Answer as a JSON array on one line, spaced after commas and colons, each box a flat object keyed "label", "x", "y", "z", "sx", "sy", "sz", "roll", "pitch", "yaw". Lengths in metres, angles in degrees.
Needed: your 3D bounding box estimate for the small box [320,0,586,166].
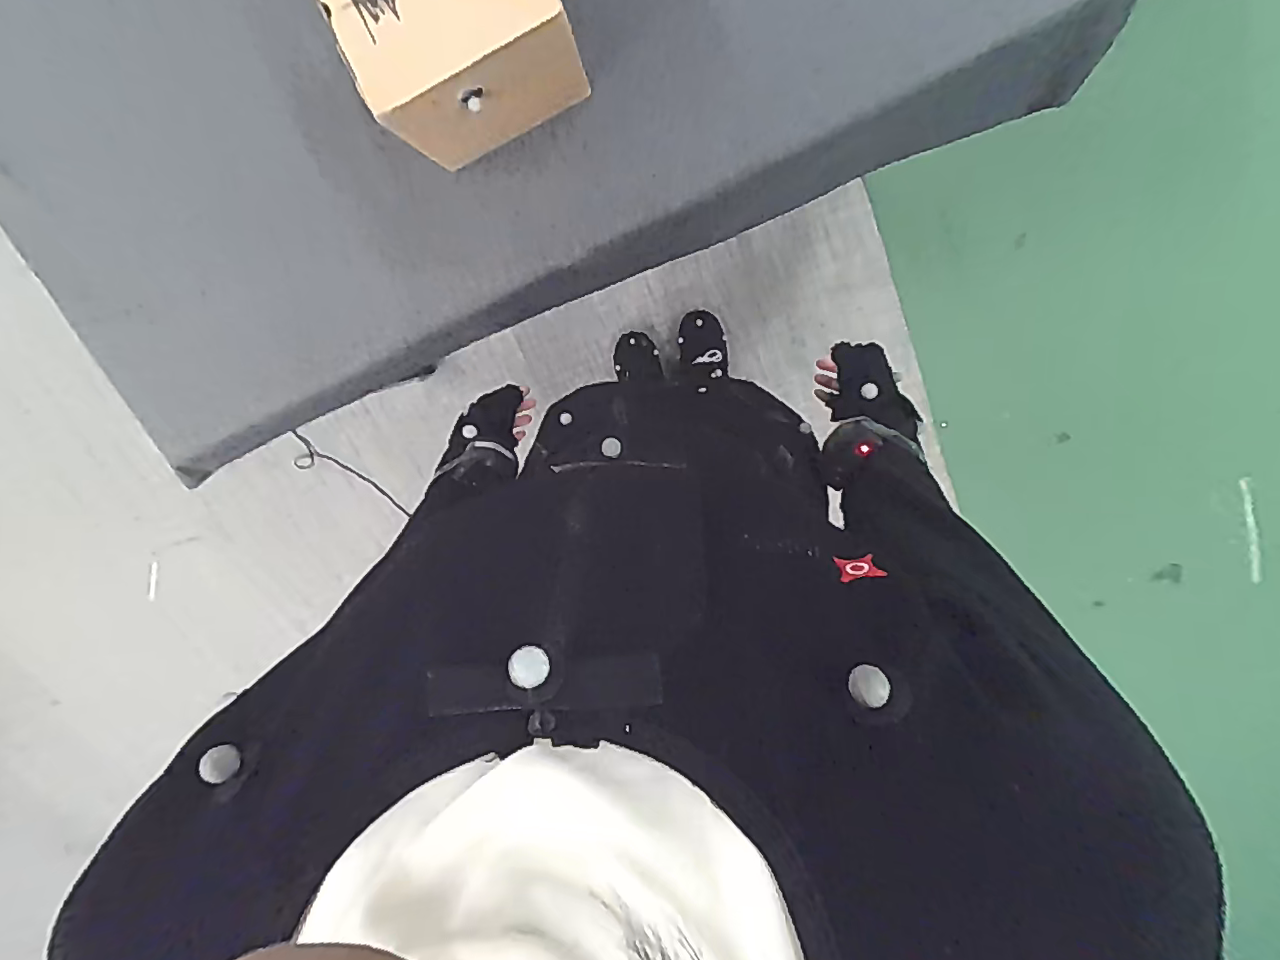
[{"label": "small box", "x": -0.168, "y": -0.425, "z": 0.497, "sx": 0.179, "sy": 0.176, "sz": 0.168, "roll": -23, "pitch": 104, "yaw": 9}]
